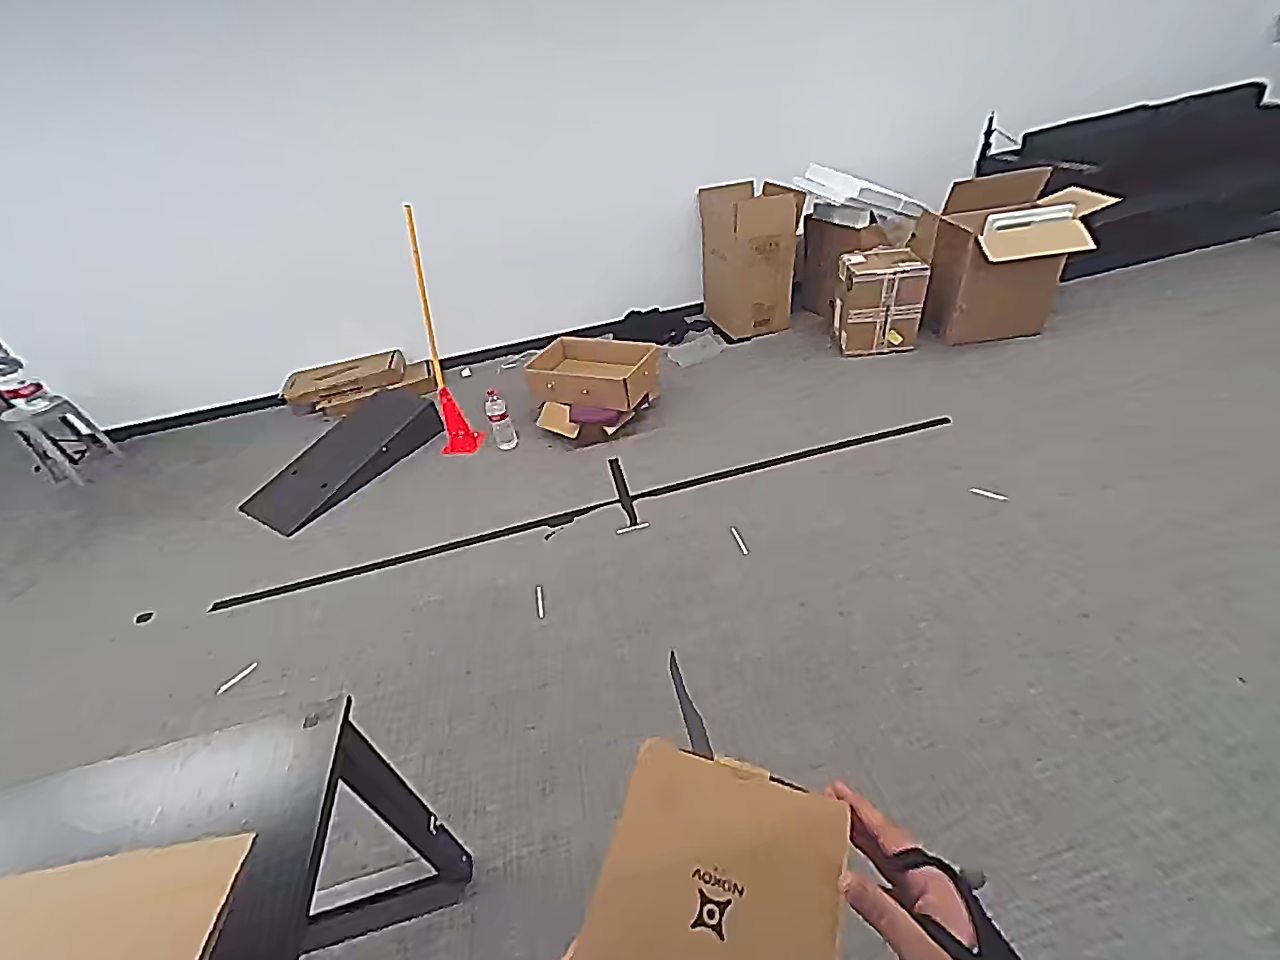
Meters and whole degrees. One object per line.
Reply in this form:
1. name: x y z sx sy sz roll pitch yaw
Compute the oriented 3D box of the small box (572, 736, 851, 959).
1. small box: 0.061 0.344 0.430 0.168 0.176 0.179 10 48 19
